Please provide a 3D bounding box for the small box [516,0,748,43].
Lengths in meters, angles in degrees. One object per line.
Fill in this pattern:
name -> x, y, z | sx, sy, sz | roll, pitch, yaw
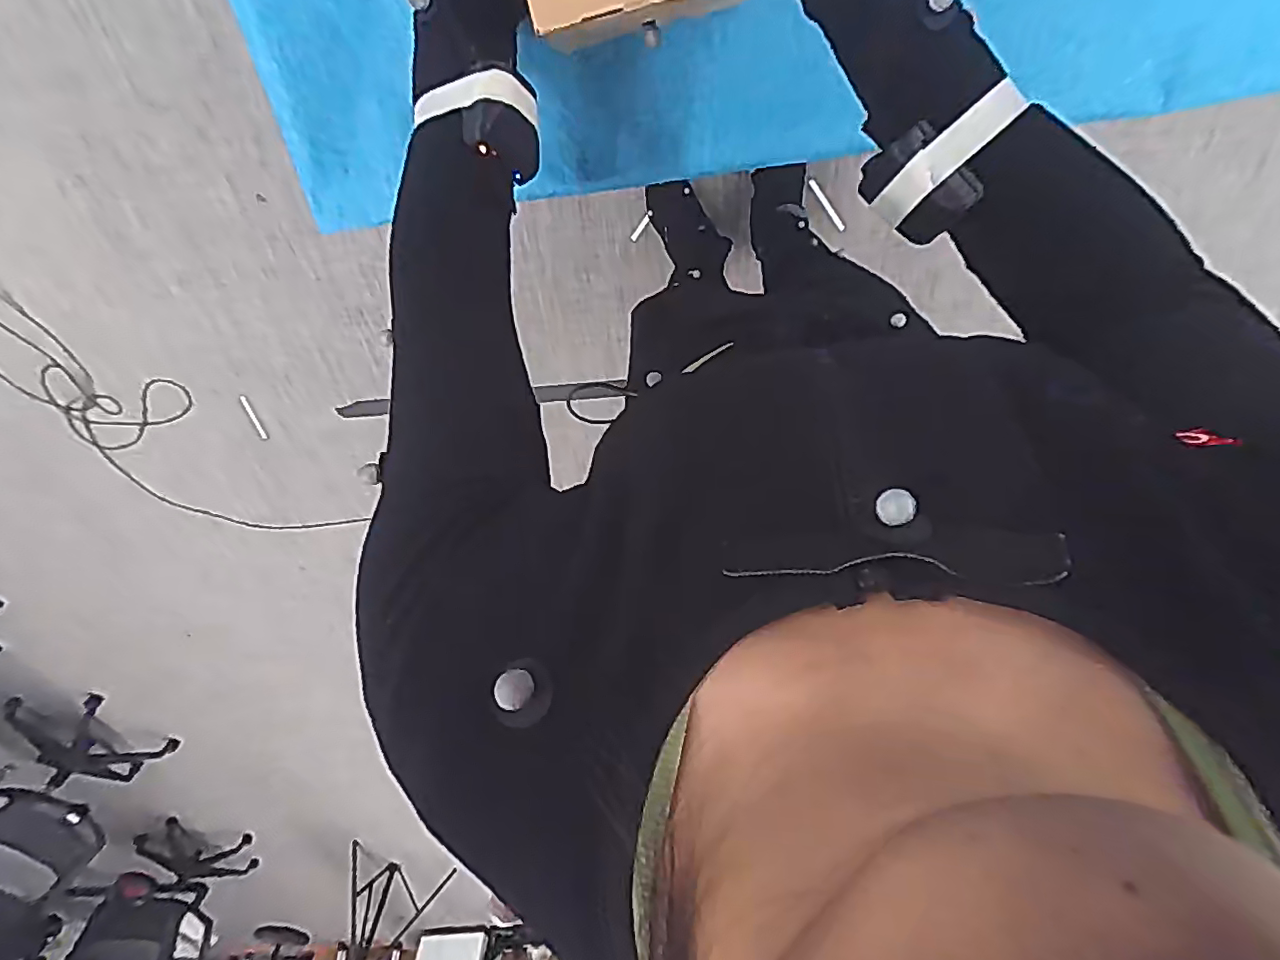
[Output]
small box -> -0.010, -0.426, 0.371 | 0.168, 0.176, 0.179 | -6, 128, 6
